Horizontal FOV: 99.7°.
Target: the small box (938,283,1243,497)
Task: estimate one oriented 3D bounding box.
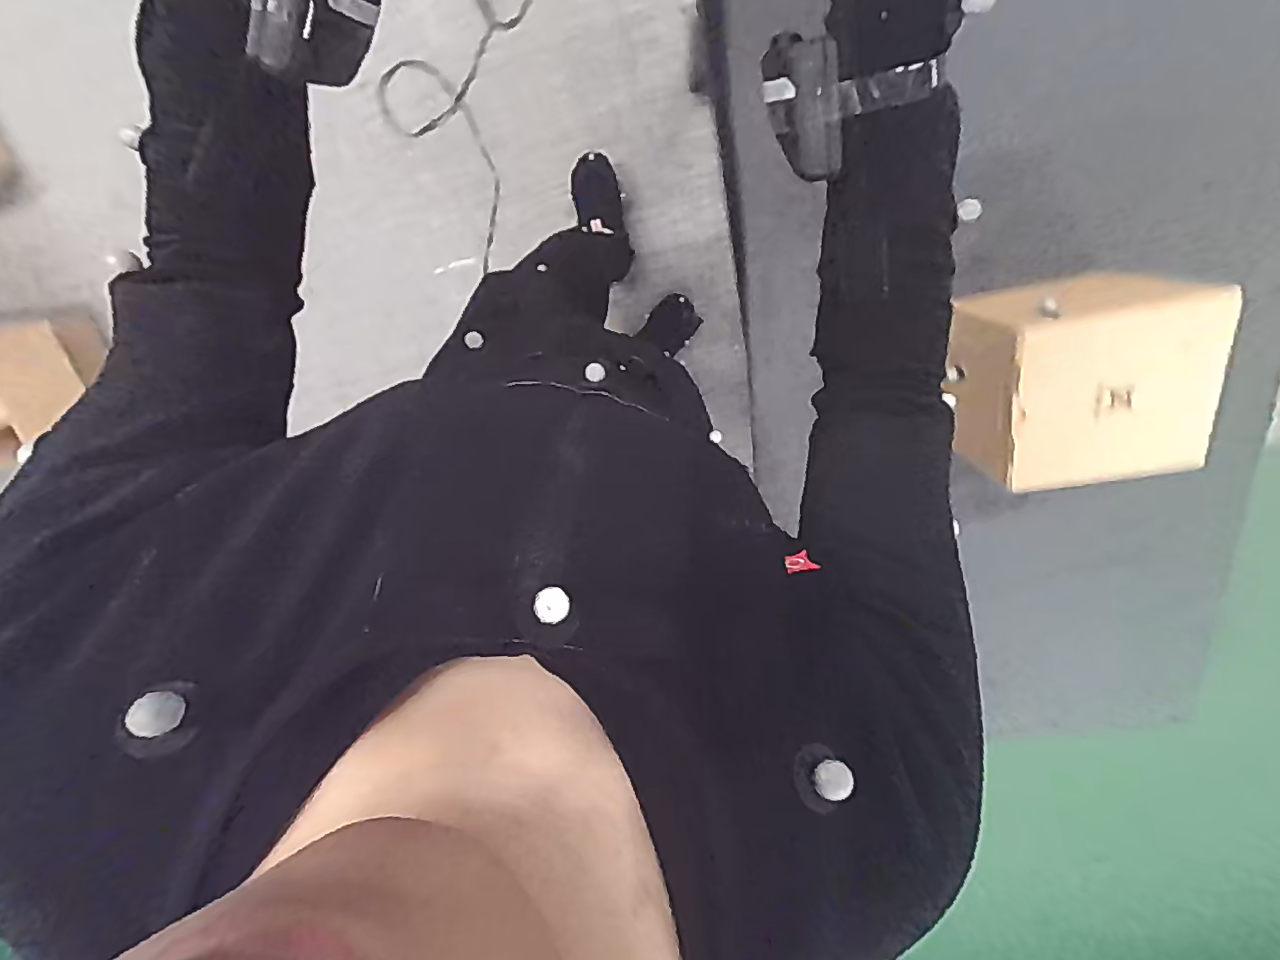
[{"bbox_3d":[0.444,-0.102,0.570,0.179,0.176,0.168,-9,114,9],"label":"small box"}]
